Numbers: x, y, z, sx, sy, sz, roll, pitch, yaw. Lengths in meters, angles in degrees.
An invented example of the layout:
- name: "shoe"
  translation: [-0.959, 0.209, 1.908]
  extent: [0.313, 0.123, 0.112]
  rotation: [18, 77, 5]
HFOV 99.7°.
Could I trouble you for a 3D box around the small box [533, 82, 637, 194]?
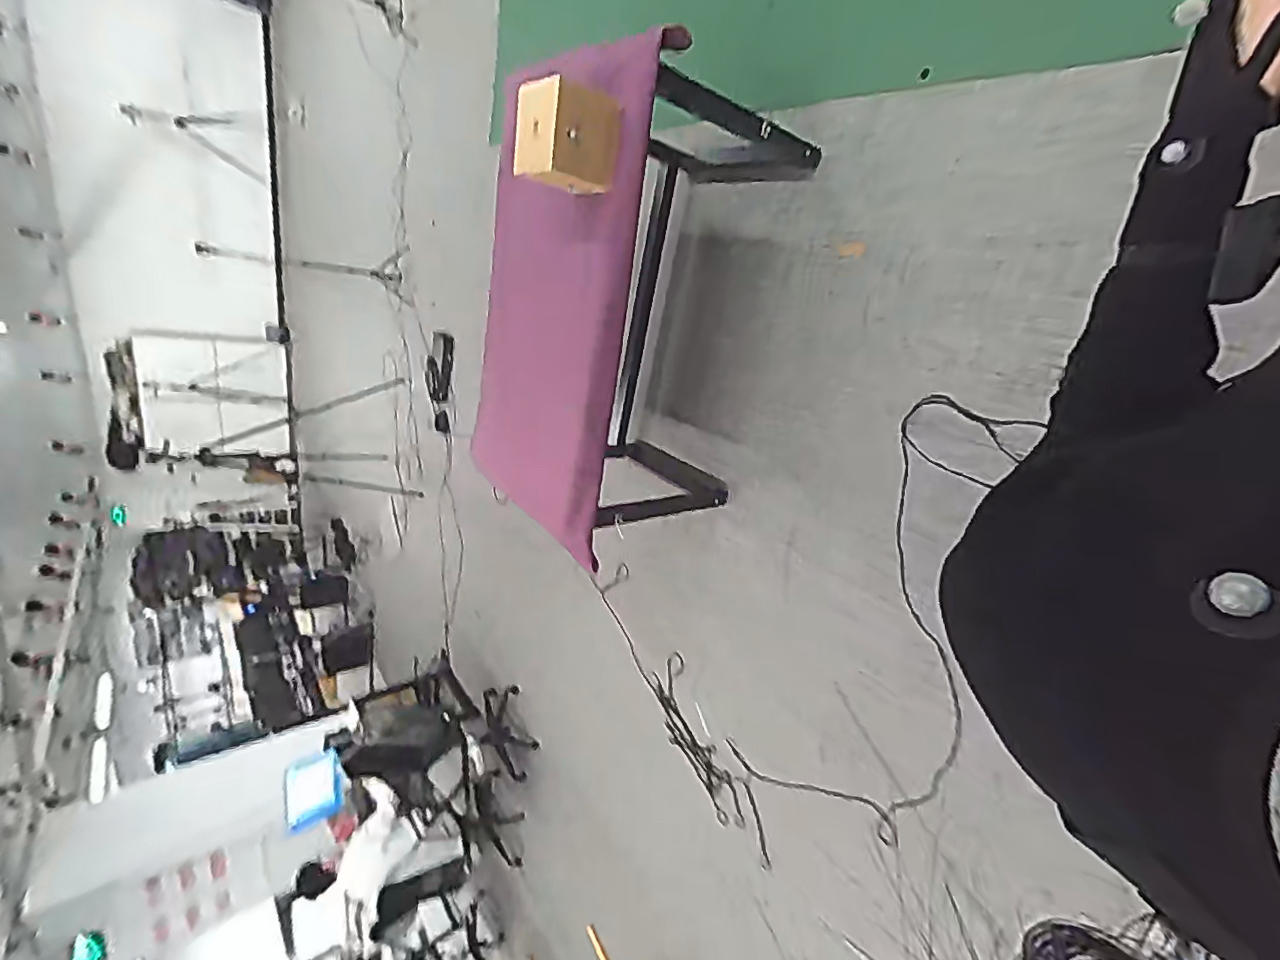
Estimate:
- name: "small box"
  translation: [-0.124, -0.769, 1.236]
  extent: [0.168, 0.176, 0.179]
  rotation: [28, 118, 44]
